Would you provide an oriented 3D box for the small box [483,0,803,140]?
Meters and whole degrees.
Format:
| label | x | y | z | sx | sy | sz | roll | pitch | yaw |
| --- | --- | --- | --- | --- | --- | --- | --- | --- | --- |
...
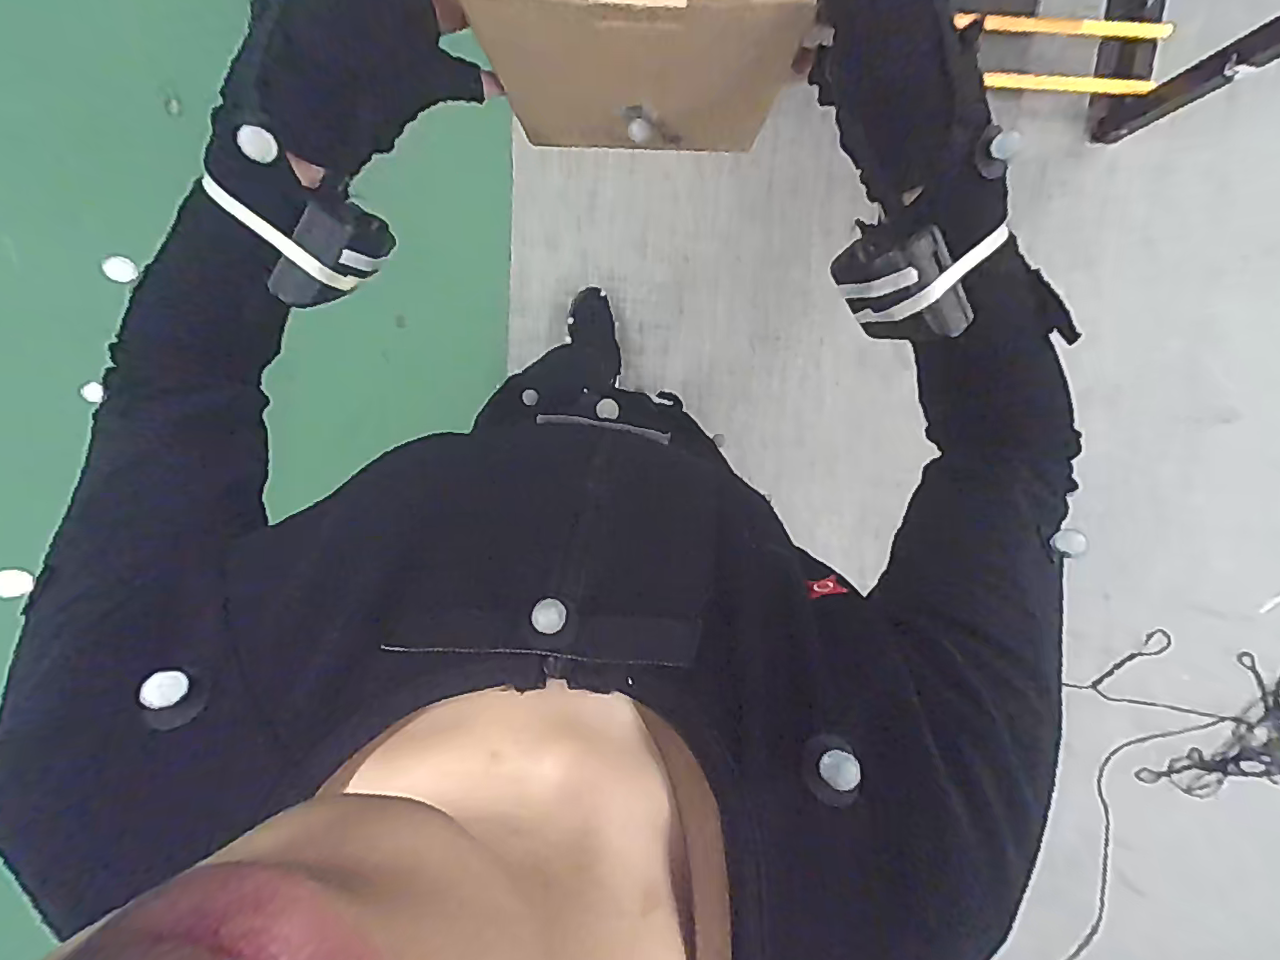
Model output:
| label | x | y | z | sx | sy | sz | roll | pitch | yaw |
| --- | --- | --- | --- | --- | --- | --- | --- | --- | --- |
| small box | 0.000 | -0.322 | 0.296 | 0.168 | 0.176 | 0.179 | 2 | 100 | 1 |
